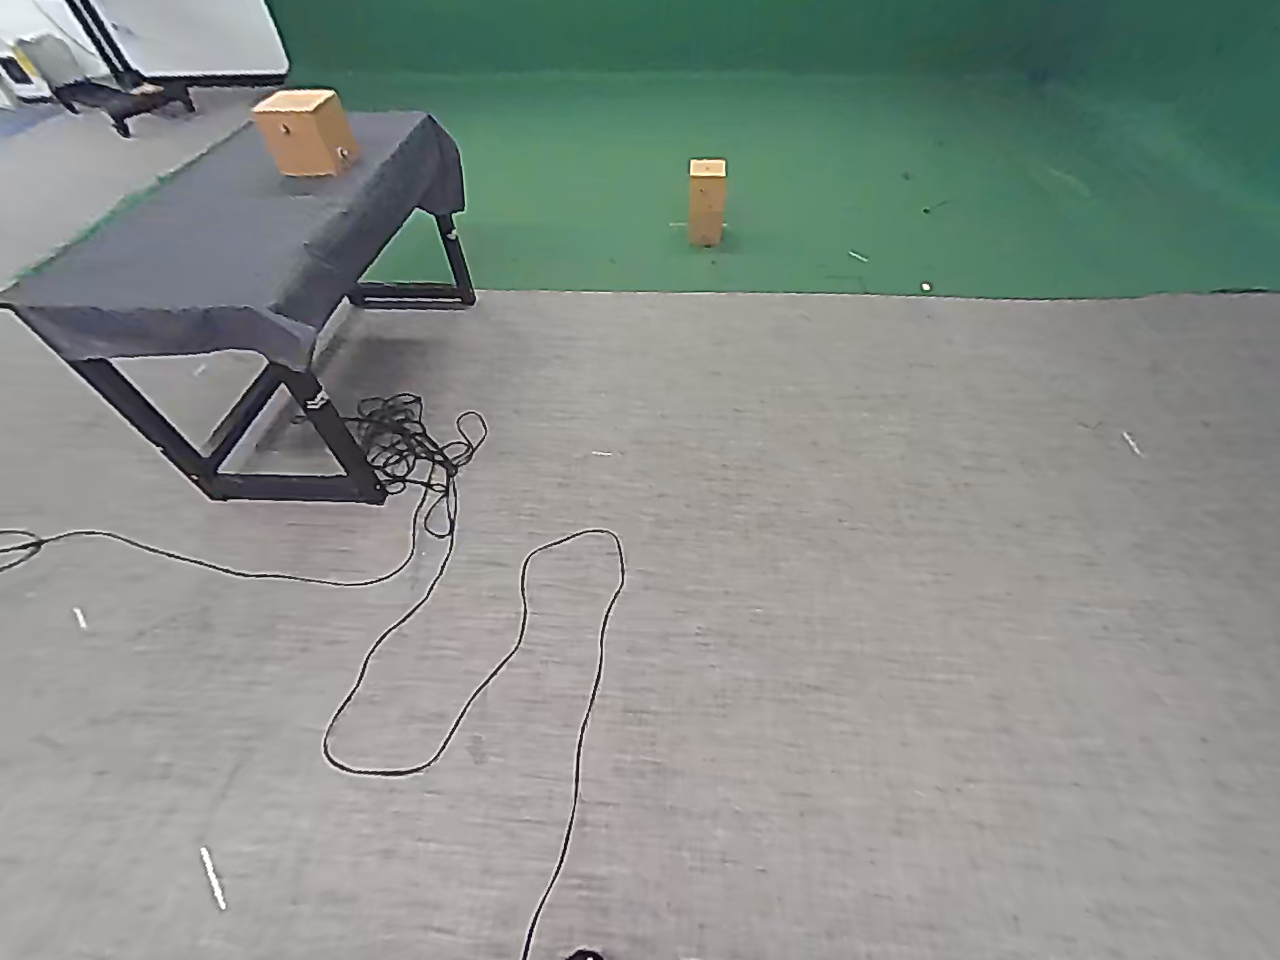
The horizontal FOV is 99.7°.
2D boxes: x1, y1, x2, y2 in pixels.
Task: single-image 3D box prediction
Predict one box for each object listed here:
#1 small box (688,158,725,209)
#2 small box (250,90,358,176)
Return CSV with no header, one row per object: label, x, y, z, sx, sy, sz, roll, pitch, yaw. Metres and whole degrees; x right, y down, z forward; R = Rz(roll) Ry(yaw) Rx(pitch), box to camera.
small box,0.315,-1.410,2.573,0.168,0.176,0.179,3,51,5
small box,-0.957,-0.999,1.560,0.179,0.176,0.168,3,52,4
